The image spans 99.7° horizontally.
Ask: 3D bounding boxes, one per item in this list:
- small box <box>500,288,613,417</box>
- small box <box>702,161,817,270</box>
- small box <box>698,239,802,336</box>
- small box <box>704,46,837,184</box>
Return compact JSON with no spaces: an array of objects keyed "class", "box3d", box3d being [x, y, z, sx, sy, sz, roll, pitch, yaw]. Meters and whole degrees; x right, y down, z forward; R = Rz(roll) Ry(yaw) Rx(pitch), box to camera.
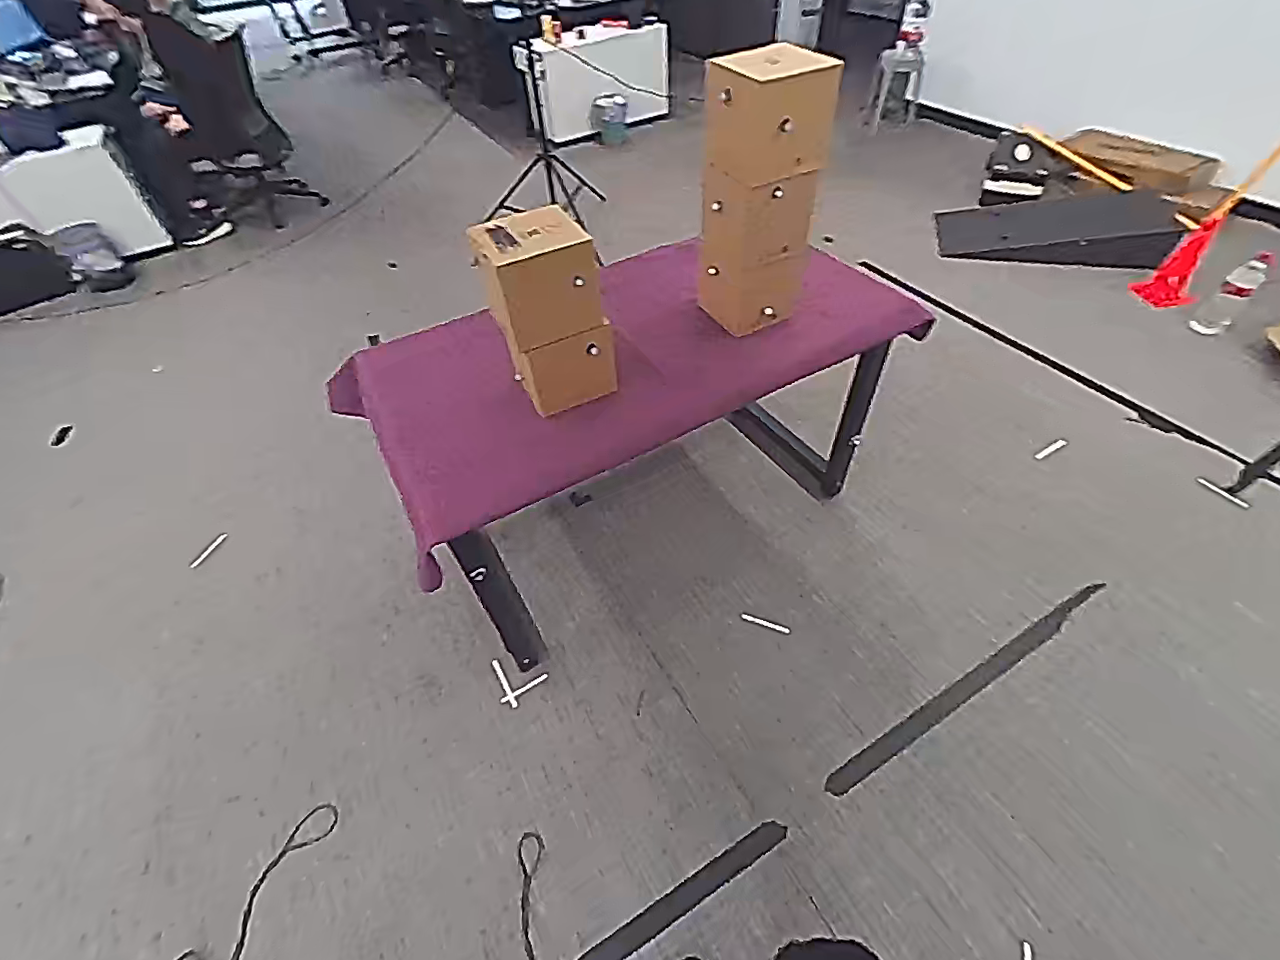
[{"class":"small box","box3d":[-0.164,-0.261,1.115,0.179,0.176,0.168,-24,51,-15]},{"class":"small box","box3d":[0.237,-0.566,1.128,0.168,0.176,0.179,-23,51,-13]},{"class":"small box","box3d":[0.245,-0.463,1.255,0.168,0.176,0.179,-24,52,-15]},{"class":"small box","box3d":[0.231,-0.668,1.000,0.168,0.176,0.179,-23,51,-13]}]
